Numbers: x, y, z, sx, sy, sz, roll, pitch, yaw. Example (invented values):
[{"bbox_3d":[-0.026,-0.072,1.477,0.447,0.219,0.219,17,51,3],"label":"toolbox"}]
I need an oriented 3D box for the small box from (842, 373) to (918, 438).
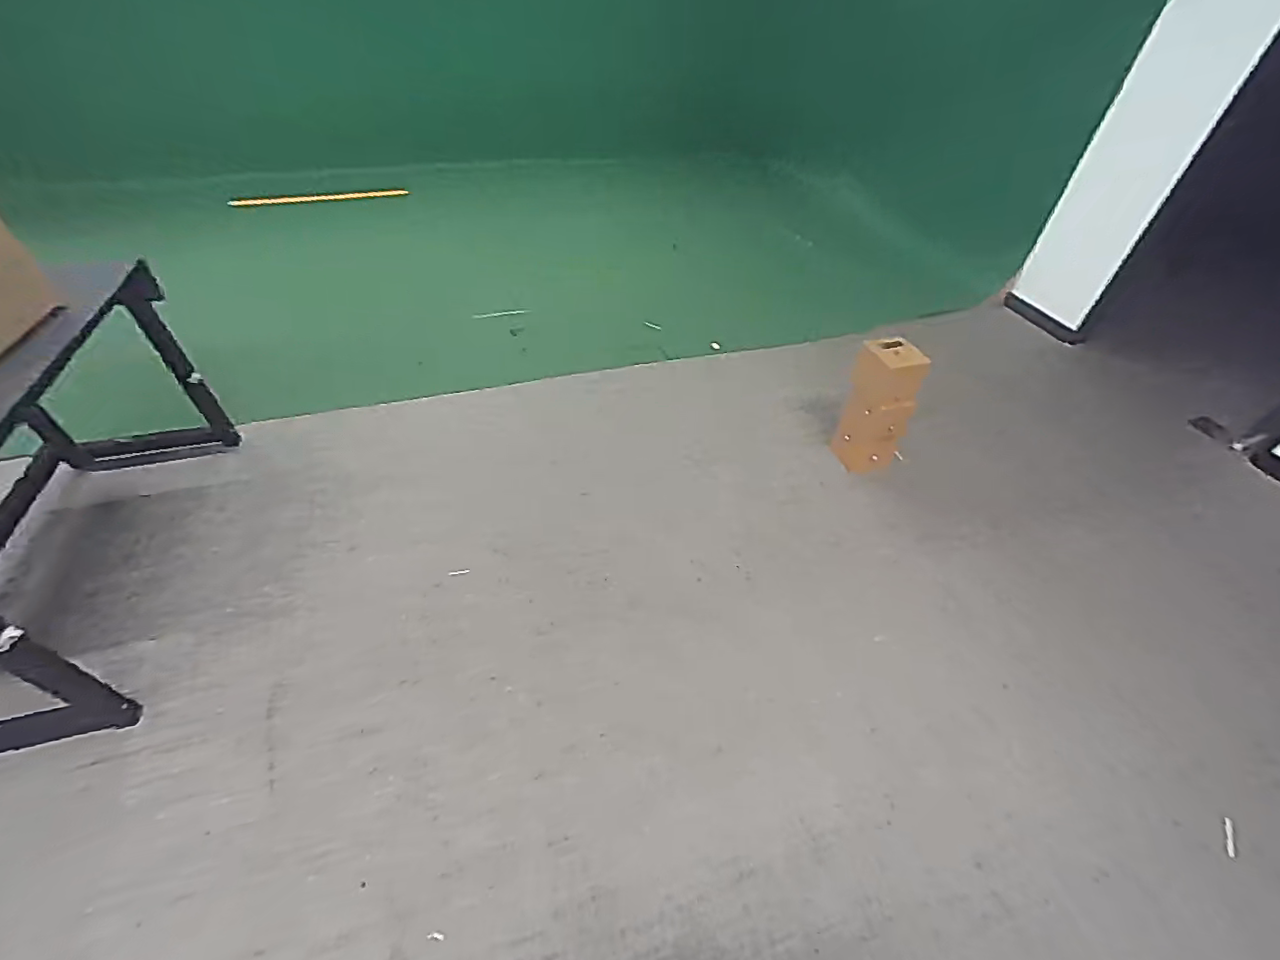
[{"bbox_3d":[0.898,-0.273,2.038,0.168,0.176,0.179,-12,48,-14],"label":"small box"}]

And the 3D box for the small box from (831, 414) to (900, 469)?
[{"bbox_3d":[0.894,-0.163,2.160,0.168,0.176,0.179,-13,48,-14],"label":"small box"}]
